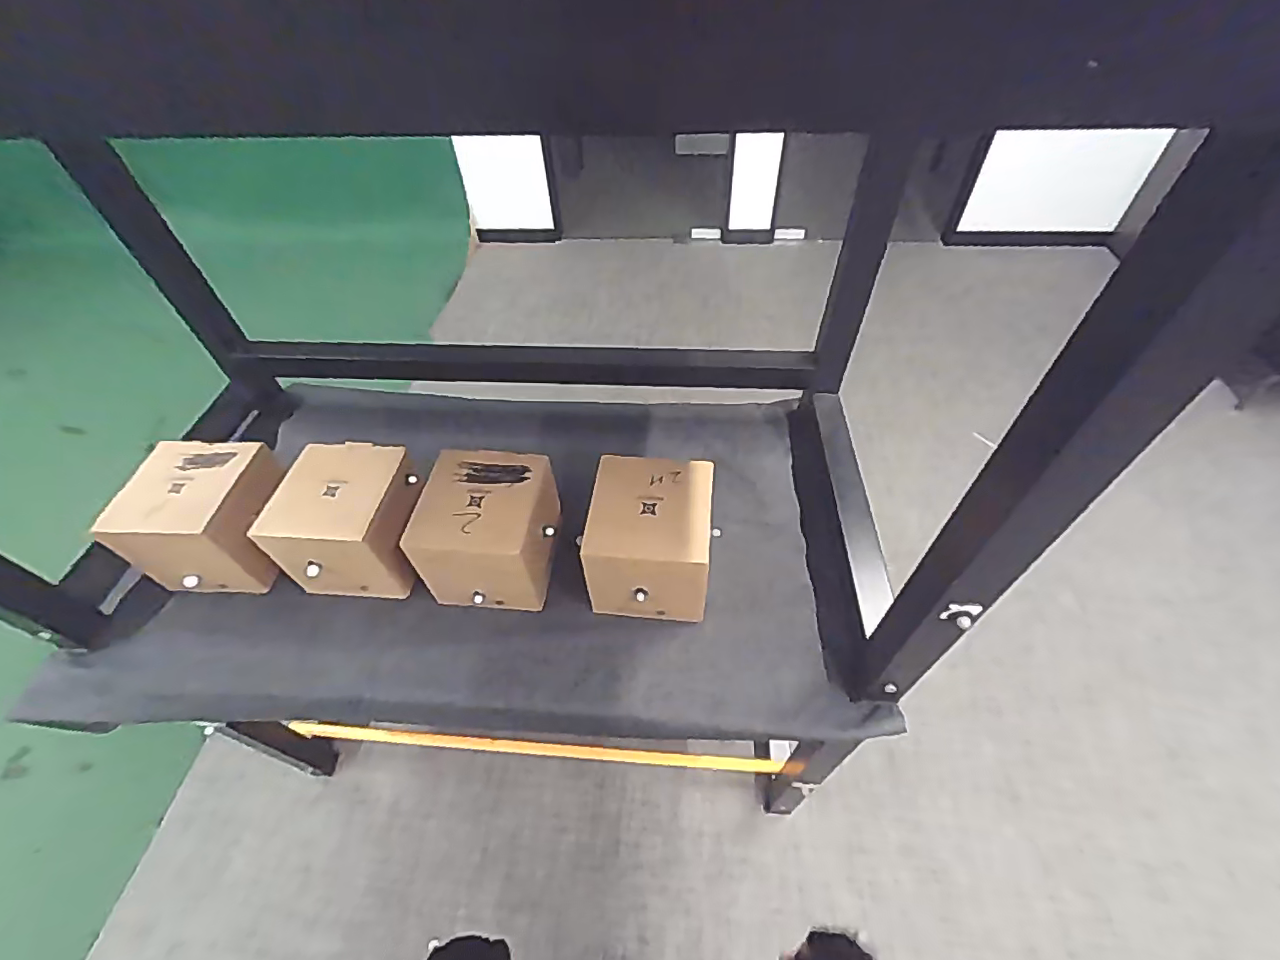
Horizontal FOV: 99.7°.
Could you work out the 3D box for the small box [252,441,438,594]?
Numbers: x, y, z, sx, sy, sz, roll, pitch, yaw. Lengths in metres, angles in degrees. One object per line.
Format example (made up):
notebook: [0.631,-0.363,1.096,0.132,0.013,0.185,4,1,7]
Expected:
small box: [-0.437,0.061,0.839,0.168,0.176,0.179,3,49,4]

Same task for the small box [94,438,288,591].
small box: [-0.663,0.055,0.851,0.168,0.176,0.179,0,50,3]

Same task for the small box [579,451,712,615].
small box: [0.016,0.080,0.797,0.168,0.176,0.179,4,49,6]
